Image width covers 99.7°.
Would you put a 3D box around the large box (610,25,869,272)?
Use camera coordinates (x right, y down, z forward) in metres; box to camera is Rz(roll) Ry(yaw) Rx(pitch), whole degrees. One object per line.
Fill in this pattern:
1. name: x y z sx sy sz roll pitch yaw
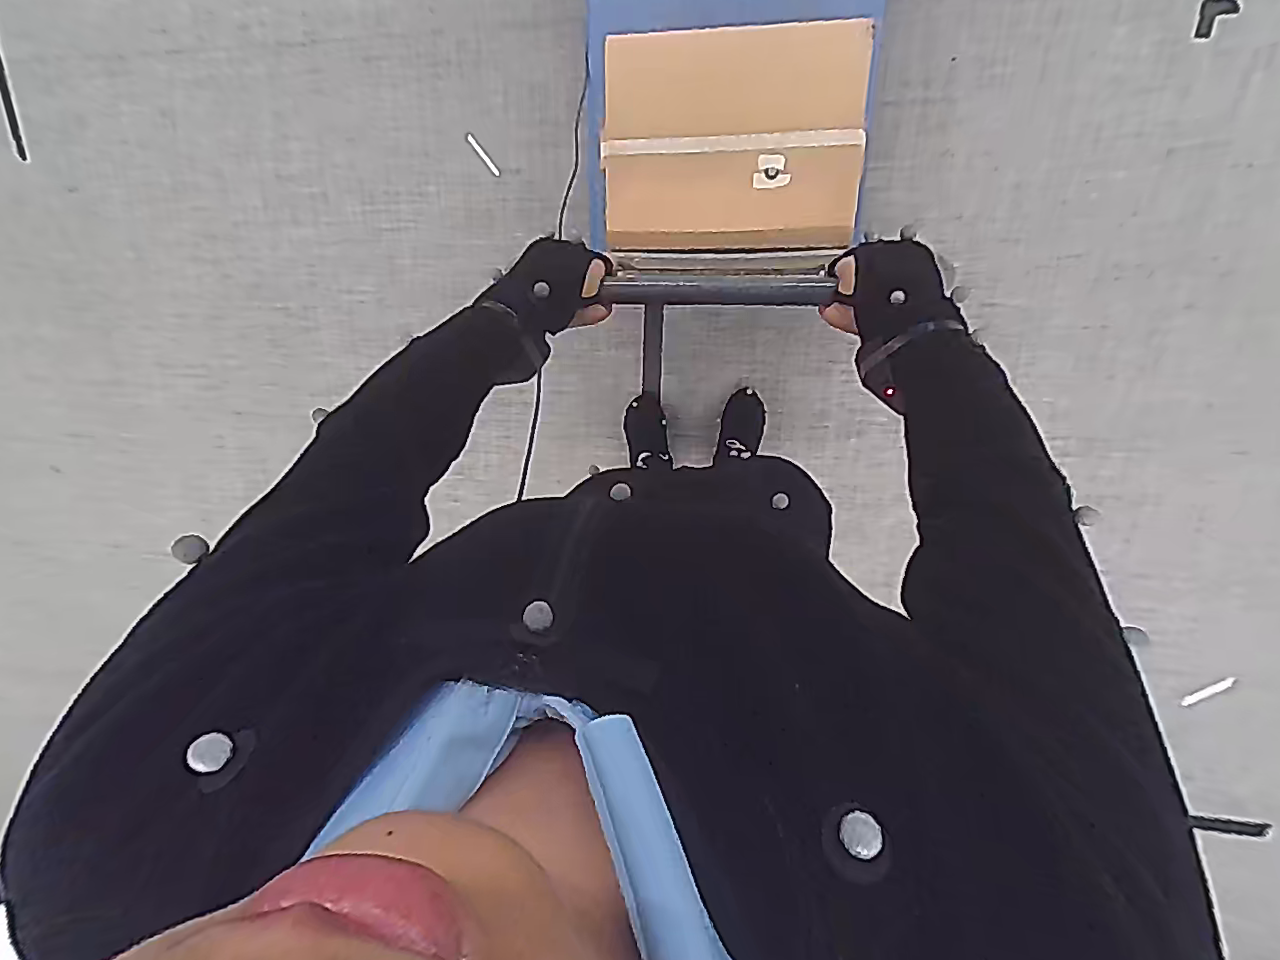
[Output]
1. large box: 0.167 -0.575 1.014 0.408 0.320 0.320 2 106 7
